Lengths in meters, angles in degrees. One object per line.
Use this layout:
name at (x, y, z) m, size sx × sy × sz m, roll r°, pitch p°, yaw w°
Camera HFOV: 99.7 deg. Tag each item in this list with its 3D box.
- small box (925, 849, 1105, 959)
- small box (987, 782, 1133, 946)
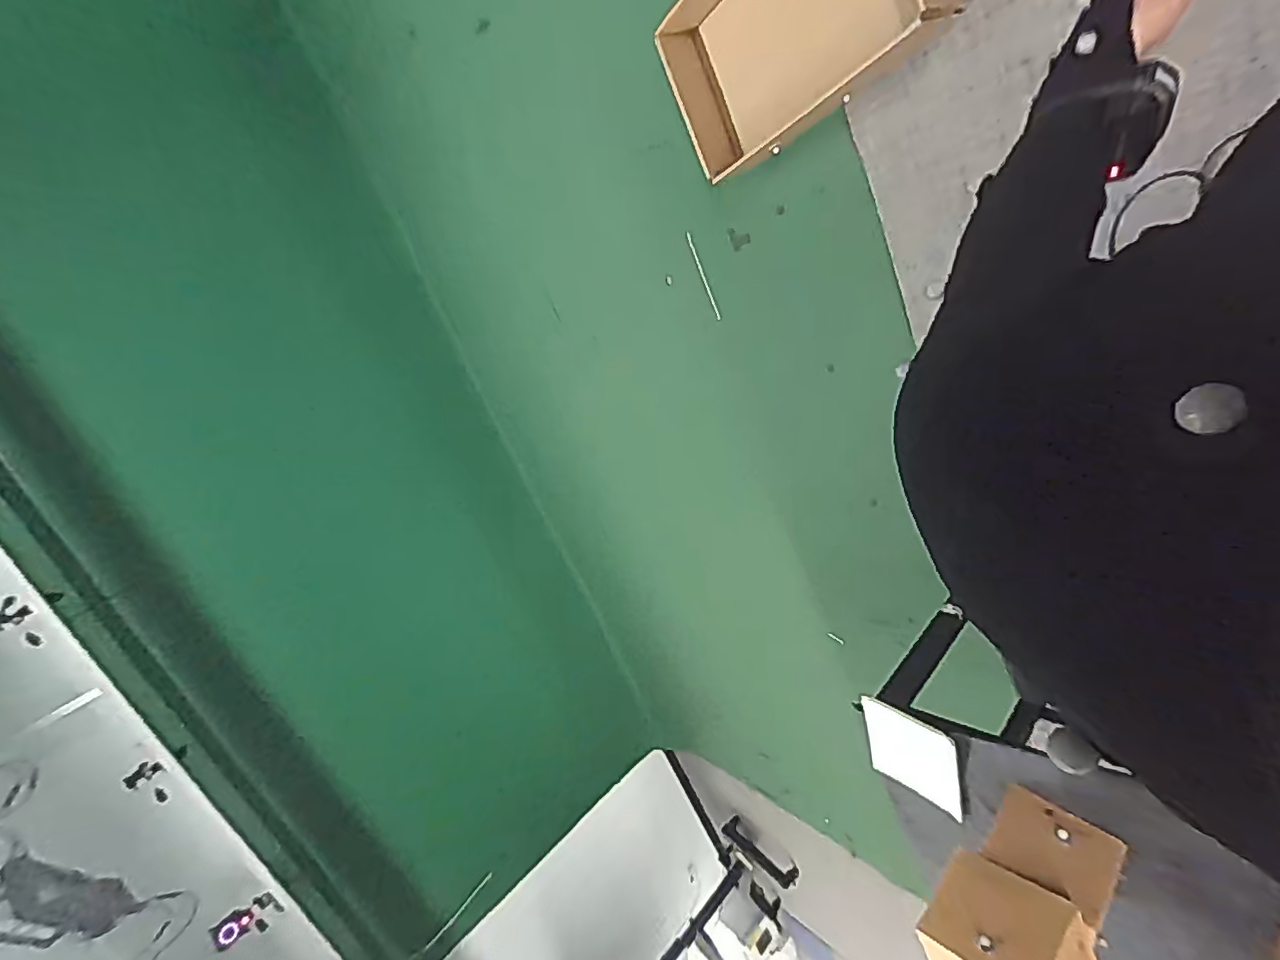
small box at (0.596, 0.738, 0.859) m, size 0.179 × 0.176 × 0.168 m, roll -5°, pitch 115°, yaw 55°
small box at (0.725, 0.682, 0.945) m, size 0.168 × 0.176 × 0.179 m, roll 18°, pitch 132°, yaw 46°
